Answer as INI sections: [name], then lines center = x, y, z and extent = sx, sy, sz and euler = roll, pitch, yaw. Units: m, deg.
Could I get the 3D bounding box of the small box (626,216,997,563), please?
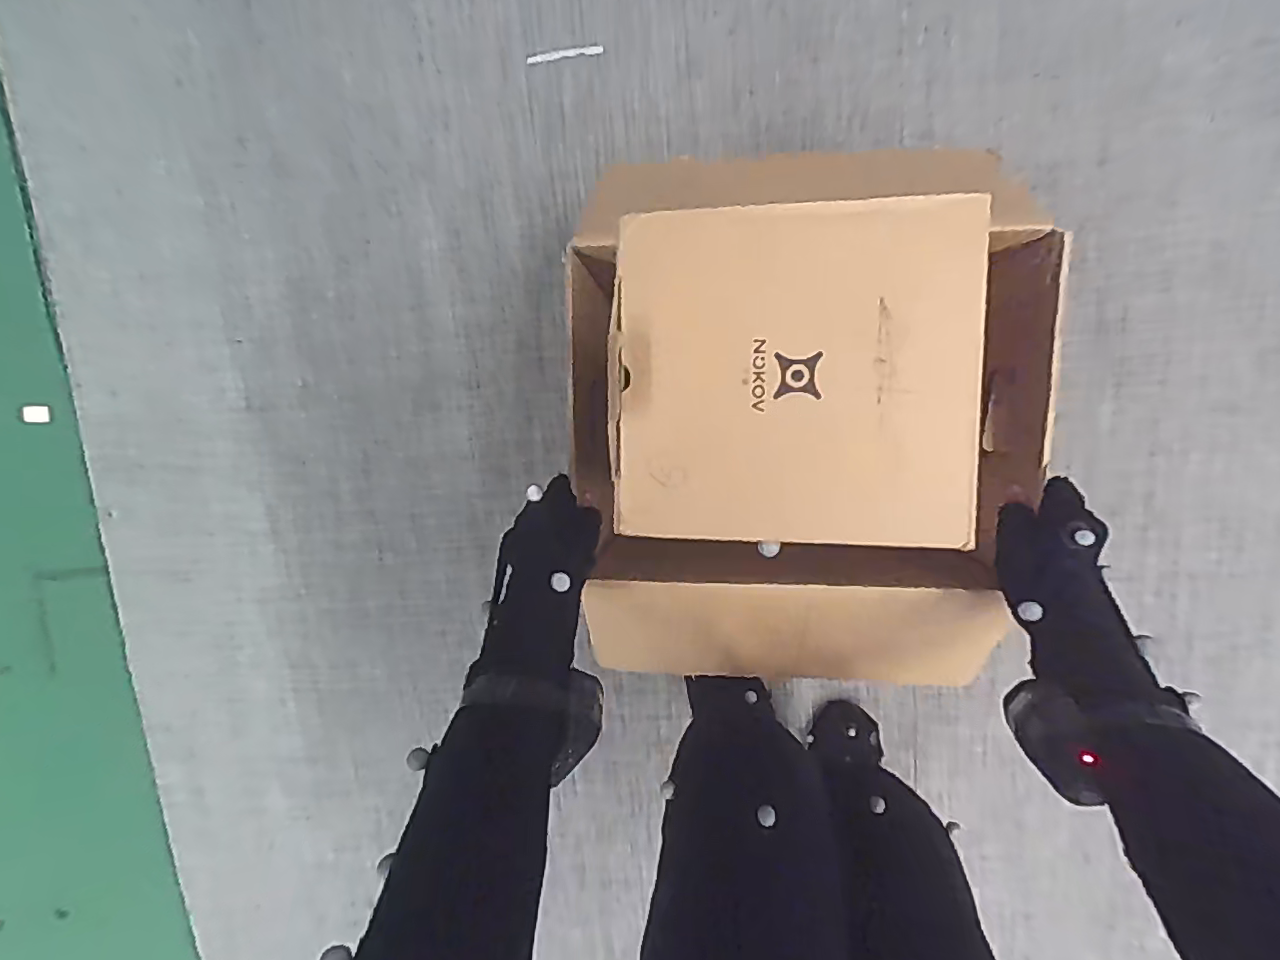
[small box]
center = 0.091, -0.047, 0.346
extent = 0.179, 0.176, 0.168
euler = 0, 95, 7
